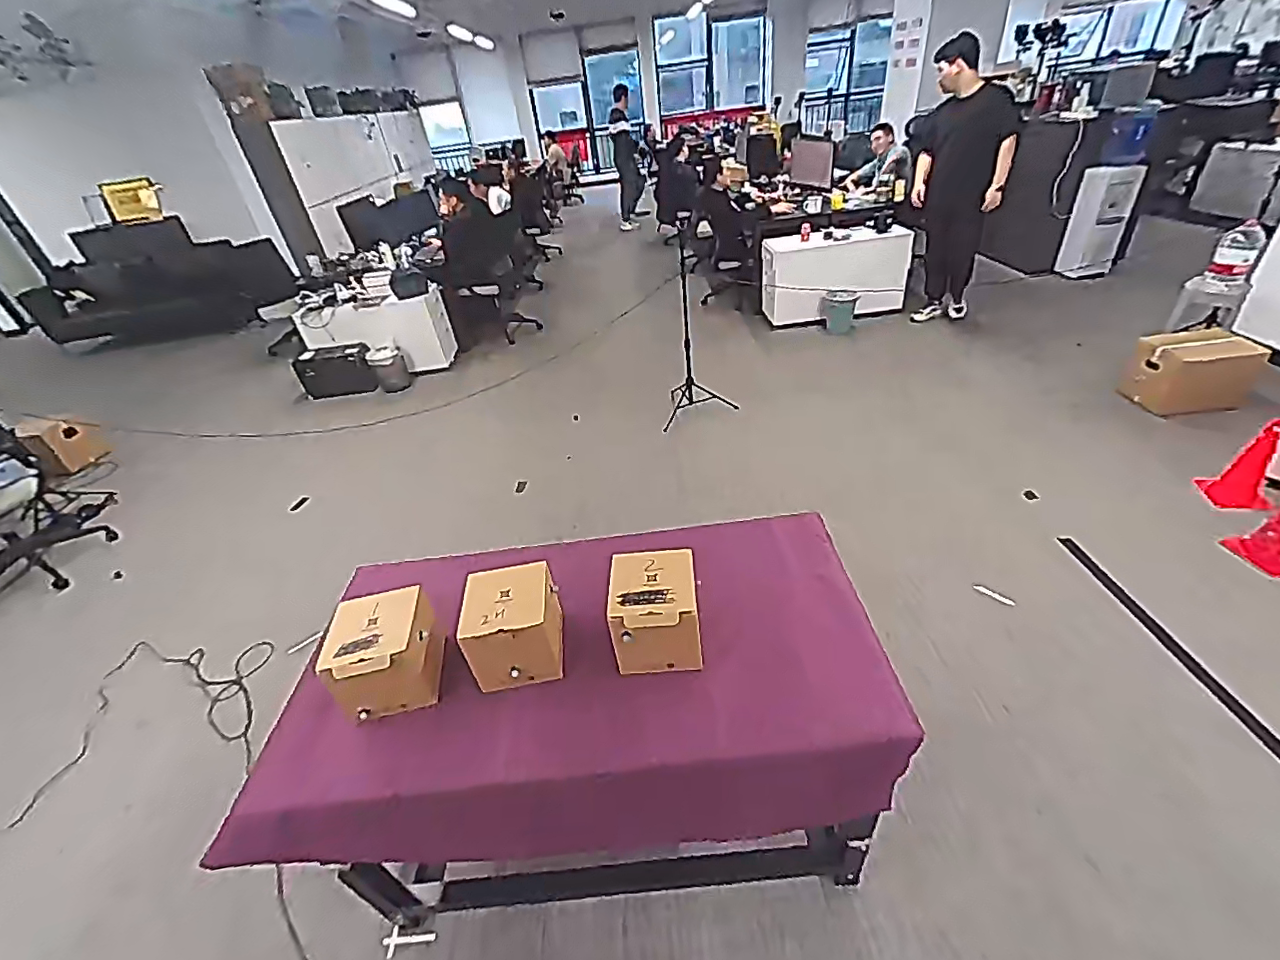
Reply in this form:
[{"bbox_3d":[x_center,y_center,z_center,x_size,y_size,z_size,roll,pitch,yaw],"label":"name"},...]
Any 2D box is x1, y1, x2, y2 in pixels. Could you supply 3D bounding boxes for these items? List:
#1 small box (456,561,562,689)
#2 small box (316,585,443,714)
[{"bbox_3d":[-0.258,0.296,1.109,0.168,0.176,0.179,-10,36,-2],"label":"small box"},{"bbox_3d":[-0.510,0.345,1.090,0.168,0.176,0.179,-11,35,-5],"label":"small box"}]
